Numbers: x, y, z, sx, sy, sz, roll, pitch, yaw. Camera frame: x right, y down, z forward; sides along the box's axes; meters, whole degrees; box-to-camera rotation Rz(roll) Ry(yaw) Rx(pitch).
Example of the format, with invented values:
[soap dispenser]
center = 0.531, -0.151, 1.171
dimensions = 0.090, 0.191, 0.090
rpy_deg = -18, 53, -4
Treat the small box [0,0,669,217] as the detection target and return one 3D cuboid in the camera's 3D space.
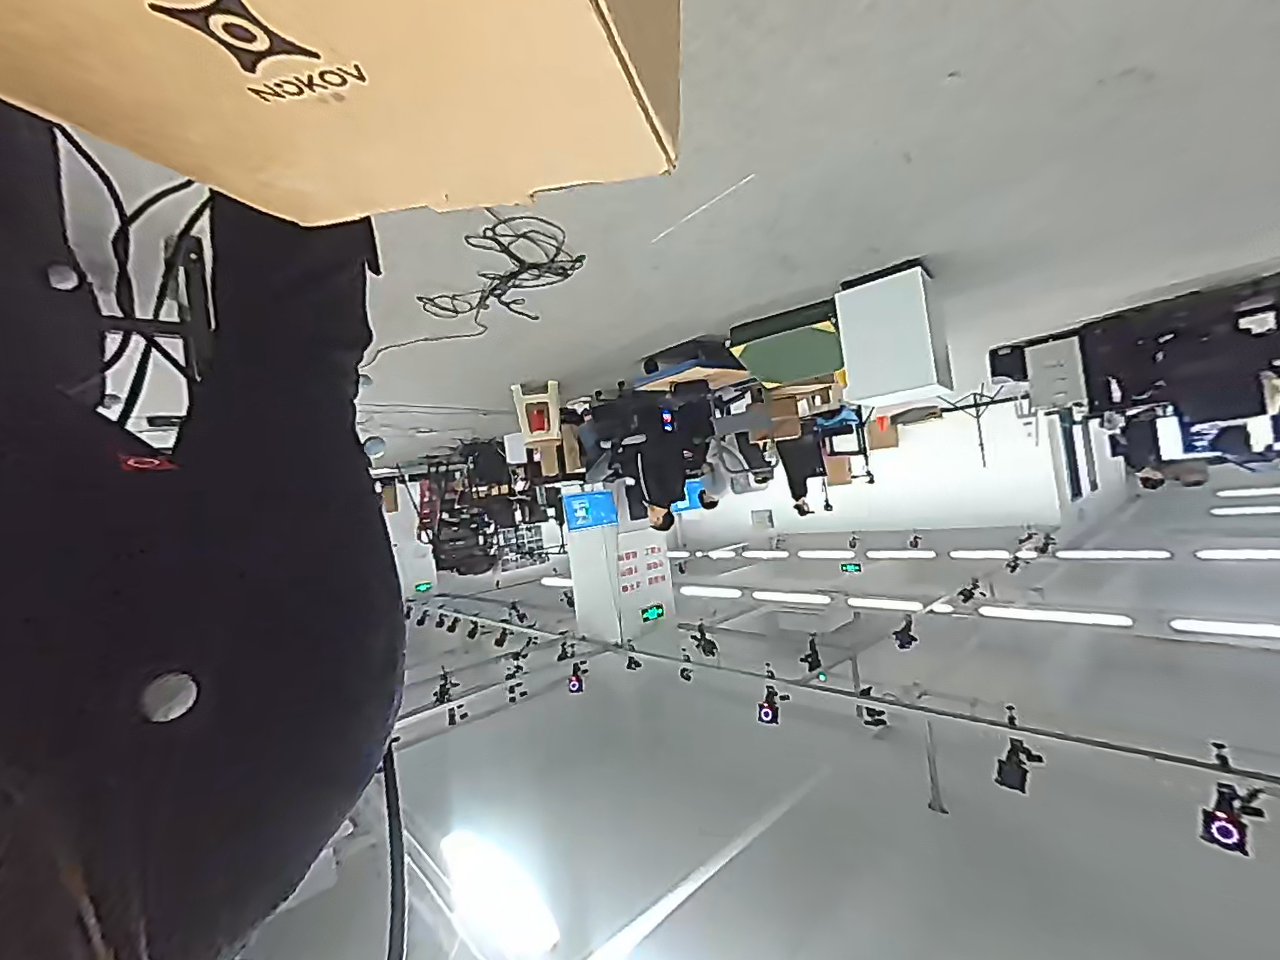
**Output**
[small box]
center = -0.093, -0.188, 0.122
dimensions = 0.168, 0.176, 0.179
rpy_deg = 1, -175, 16
